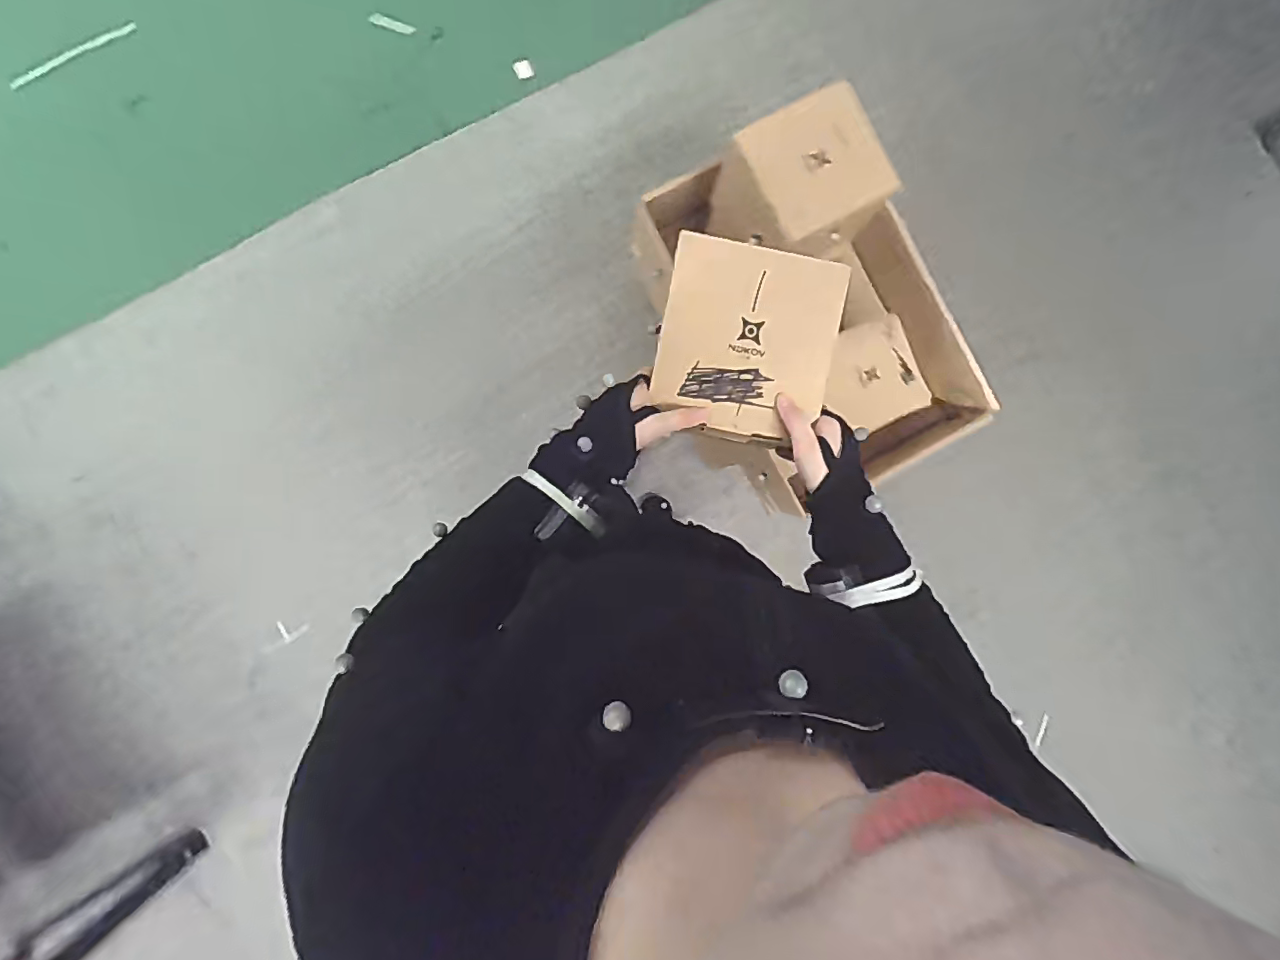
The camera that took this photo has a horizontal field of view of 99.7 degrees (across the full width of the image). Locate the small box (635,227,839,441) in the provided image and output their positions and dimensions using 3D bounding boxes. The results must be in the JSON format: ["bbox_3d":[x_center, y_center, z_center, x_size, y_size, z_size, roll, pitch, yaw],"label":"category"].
[{"bbox_3d":[0.092,-0.141,0.587,0.168,0.176,0.179,10,93,0],"label":"small box"}]

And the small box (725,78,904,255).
[{"bbox_3d":[0.240,-0.428,0.800,0.179,0.176,0.168,-27,90,-3],"label":"small box"}]
